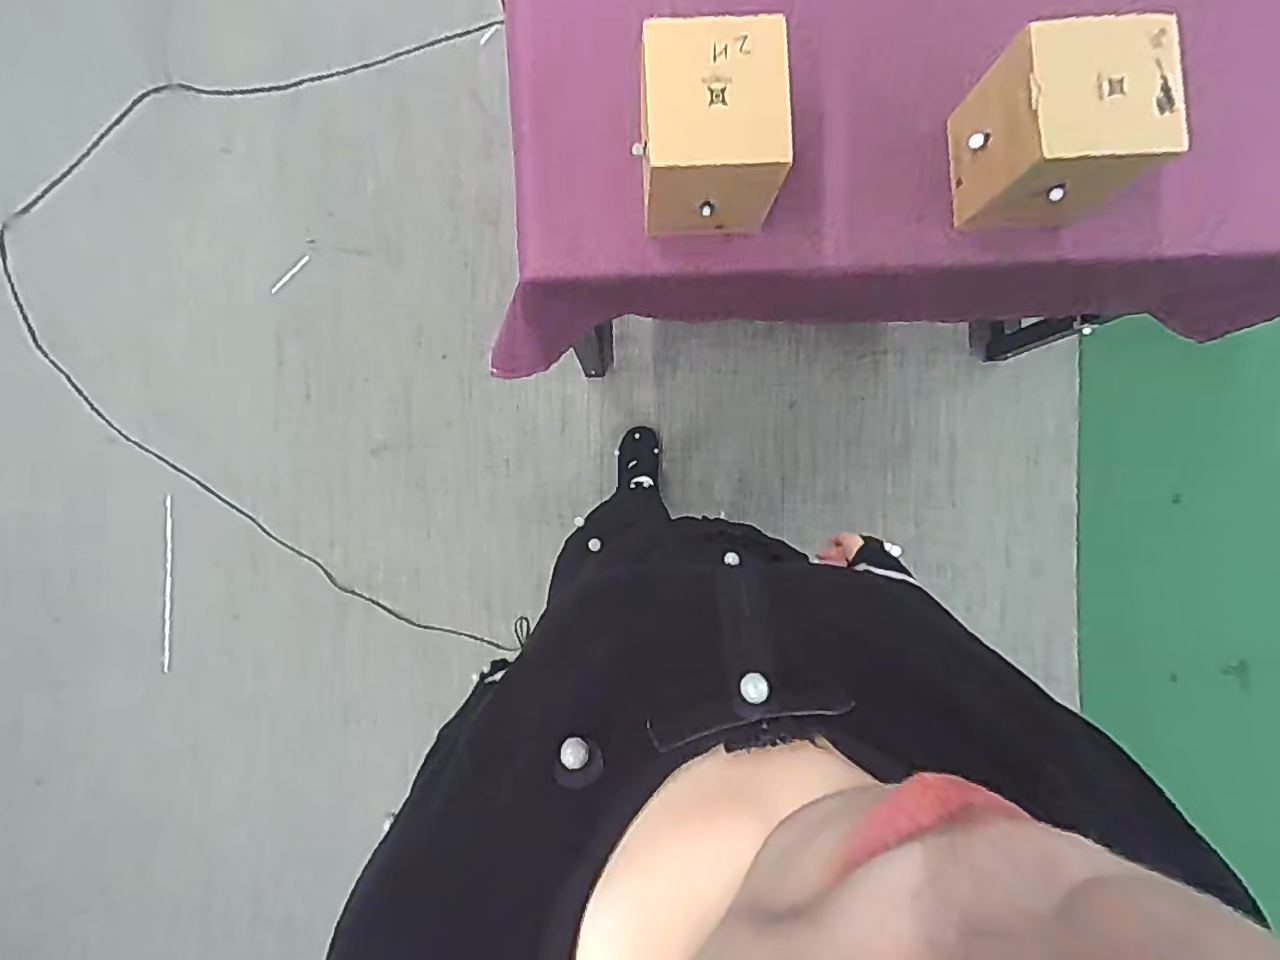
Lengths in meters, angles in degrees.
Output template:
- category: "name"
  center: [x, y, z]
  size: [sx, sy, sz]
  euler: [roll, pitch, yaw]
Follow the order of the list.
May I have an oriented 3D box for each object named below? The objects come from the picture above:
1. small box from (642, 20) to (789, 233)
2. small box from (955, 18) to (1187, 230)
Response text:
- category: "small box"
  center: [0.088, -0.438, 0.699]
  size: [0.168, 0.176, 0.179]
  euler: [-2, 88, -1]
- category: "small box"
  center: [0.535, -0.444, 0.701]
  size: [0.179, 0.176, 0.168]
  euler: [-3, 88, 0]
